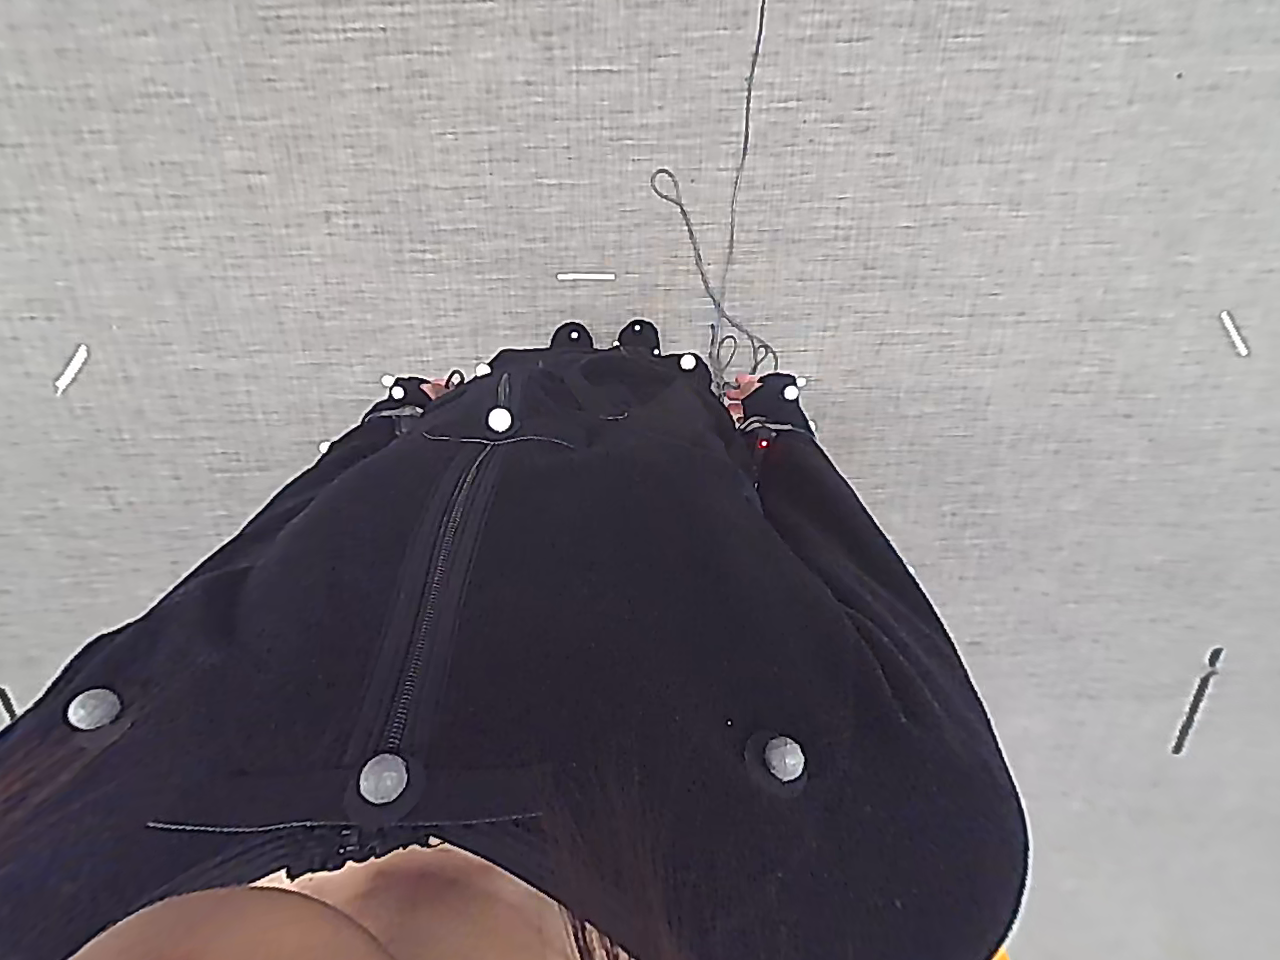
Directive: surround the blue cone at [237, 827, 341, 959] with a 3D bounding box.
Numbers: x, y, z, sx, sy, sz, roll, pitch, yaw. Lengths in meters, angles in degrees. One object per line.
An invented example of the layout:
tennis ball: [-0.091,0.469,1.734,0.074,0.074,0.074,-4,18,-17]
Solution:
blue cone: [-1.123,1.318,1.695,0.193,0.380,0.192,3,107,-1]
